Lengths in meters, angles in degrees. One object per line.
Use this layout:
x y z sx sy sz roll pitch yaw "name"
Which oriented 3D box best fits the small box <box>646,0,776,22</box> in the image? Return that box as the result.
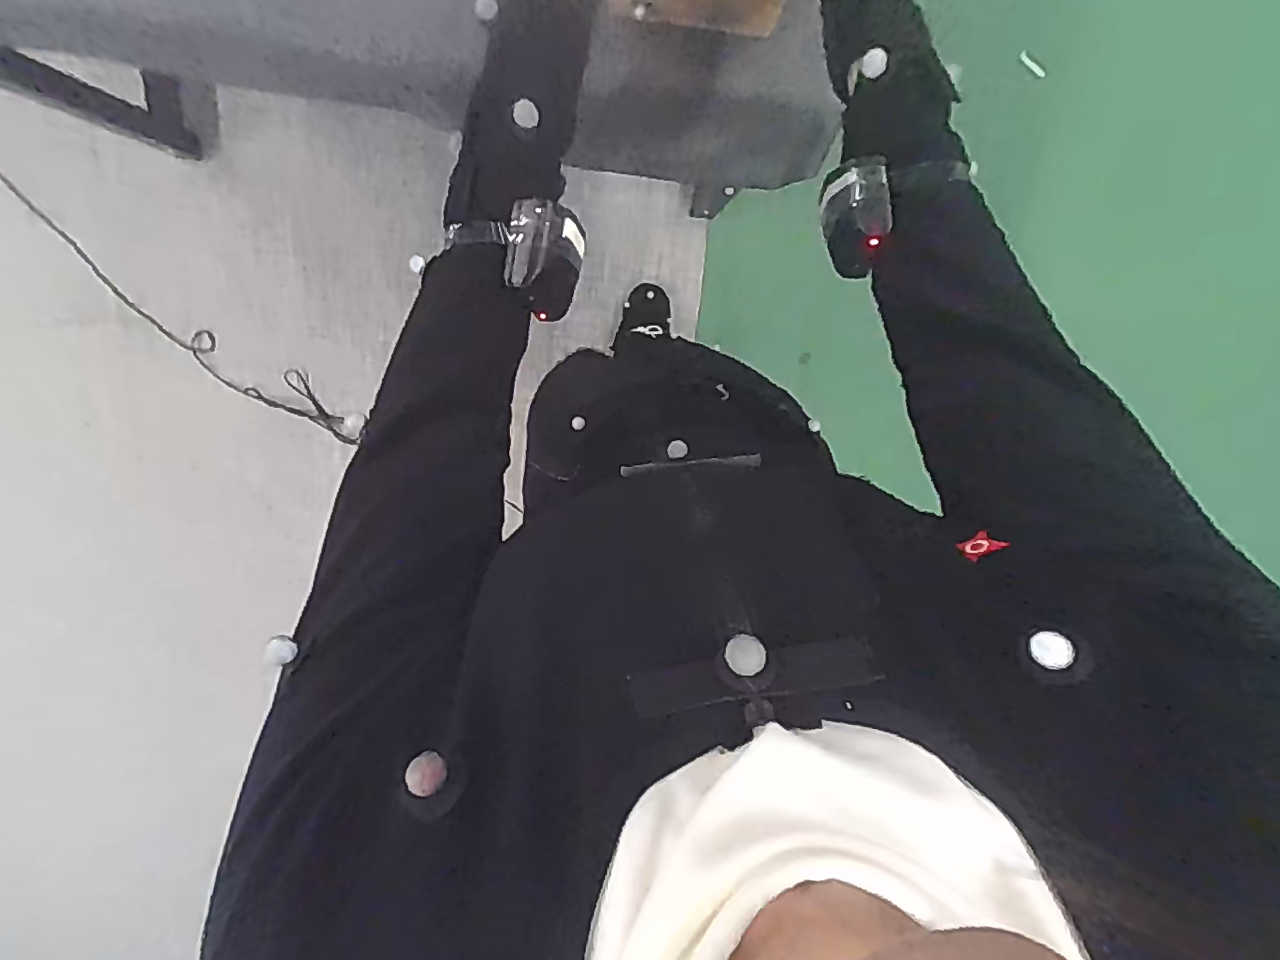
0.062 -0.523 0.440 0.168 0.176 0.179 5 105 -5 "small box"
